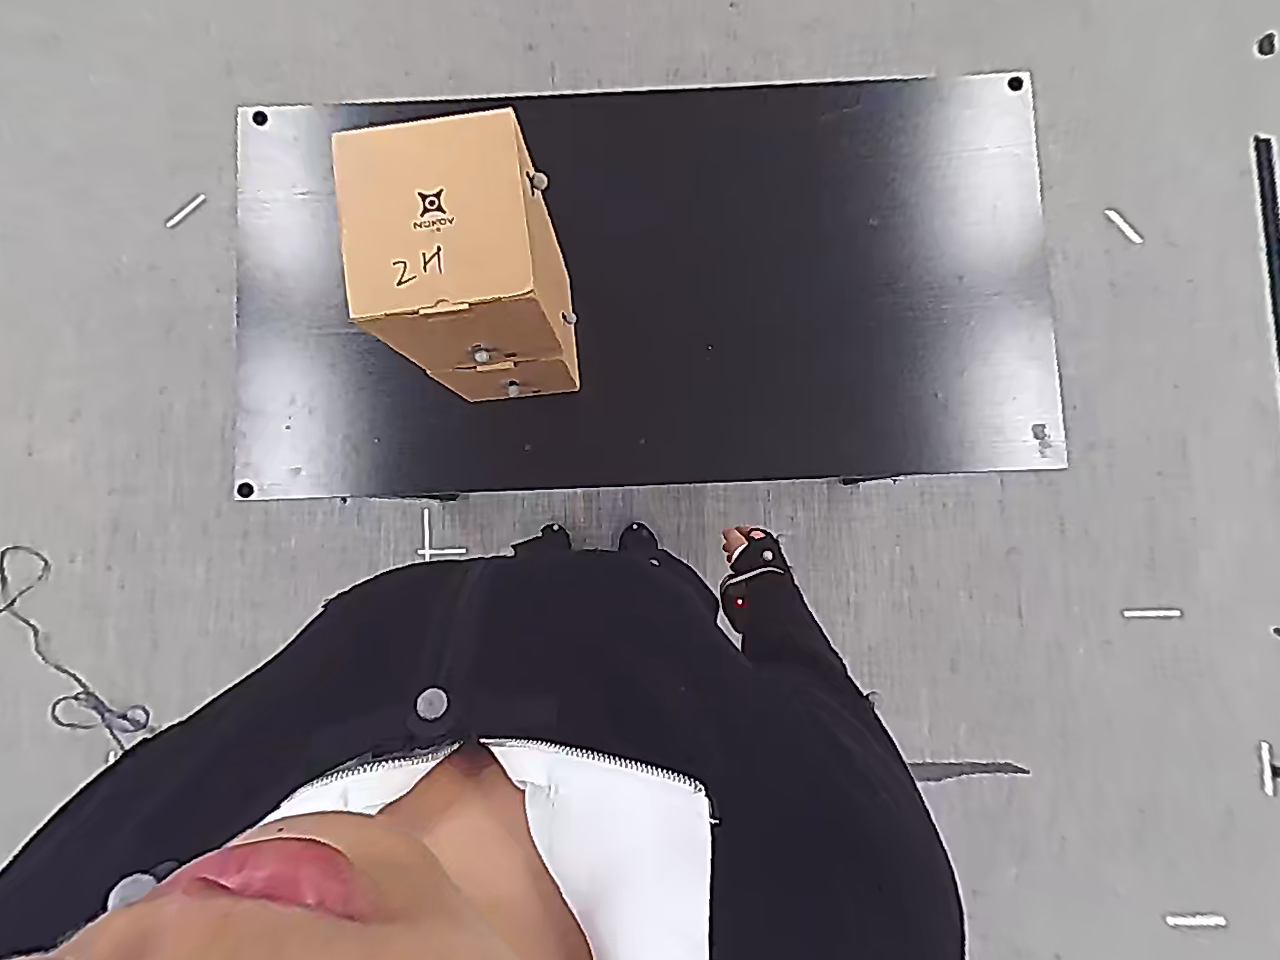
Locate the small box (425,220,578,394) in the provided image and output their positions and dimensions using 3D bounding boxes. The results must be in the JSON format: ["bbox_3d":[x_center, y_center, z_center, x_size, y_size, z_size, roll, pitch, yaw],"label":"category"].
[{"bbox_3d":[-0.180,-0.218,0.725,0.168,0.176,0.179,-6,86,1],"label":"small box"}]

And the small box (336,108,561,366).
[{"bbox_3d":[-0.182,-0.234,0.559,0.168,0.176,0.179,-8,86,1],"label":"small box"}]
